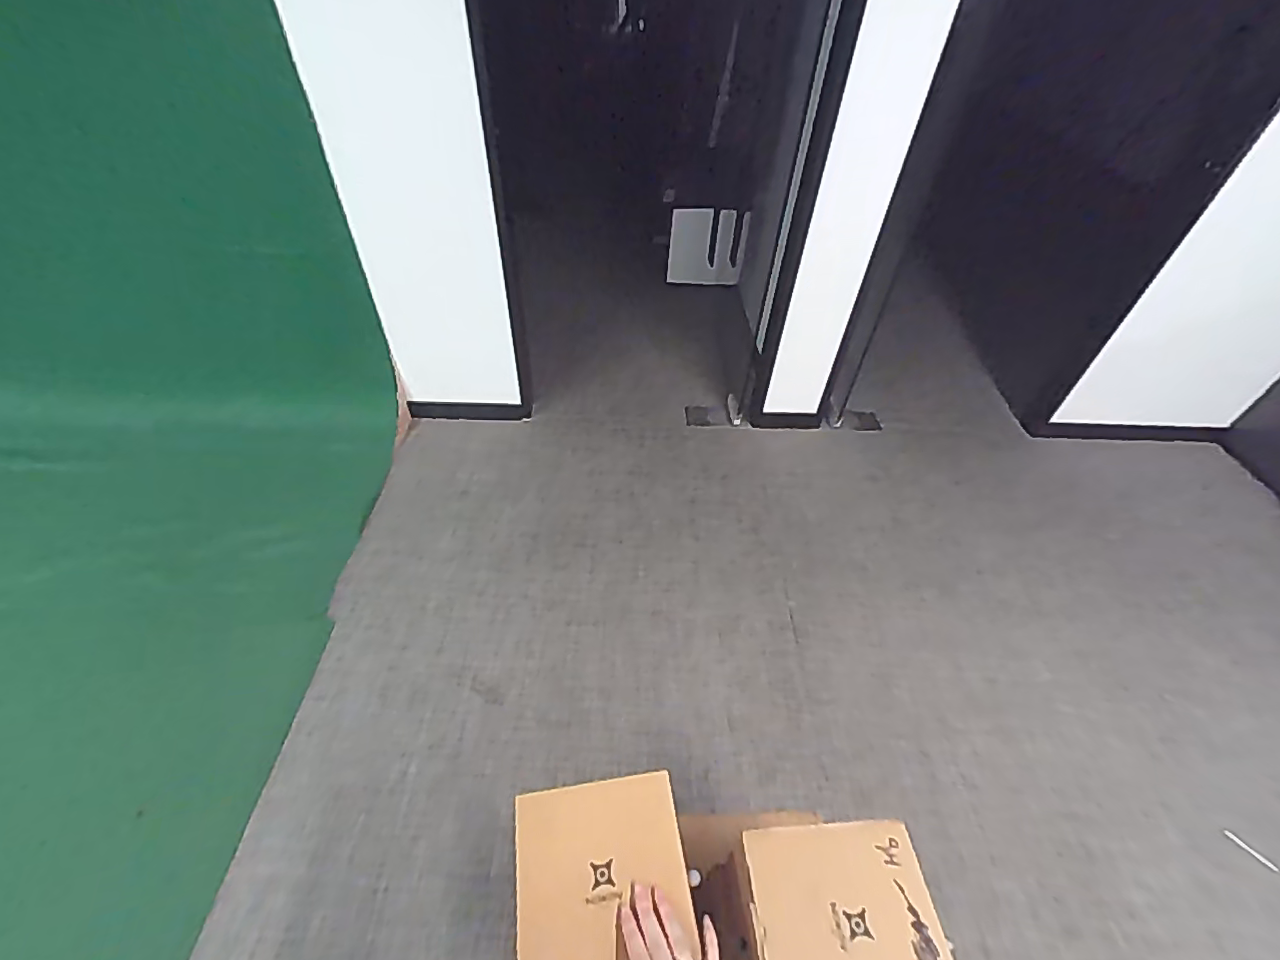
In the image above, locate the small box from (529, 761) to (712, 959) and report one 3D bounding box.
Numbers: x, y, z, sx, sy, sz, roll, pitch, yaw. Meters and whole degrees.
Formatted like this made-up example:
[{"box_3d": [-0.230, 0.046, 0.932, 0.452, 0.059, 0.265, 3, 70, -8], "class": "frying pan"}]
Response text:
[{"box_3d": [-0.033, 0.435, 0.591, 0.168, 0.176, 0.179, -4, 48, -9], "class": "small box"}]
